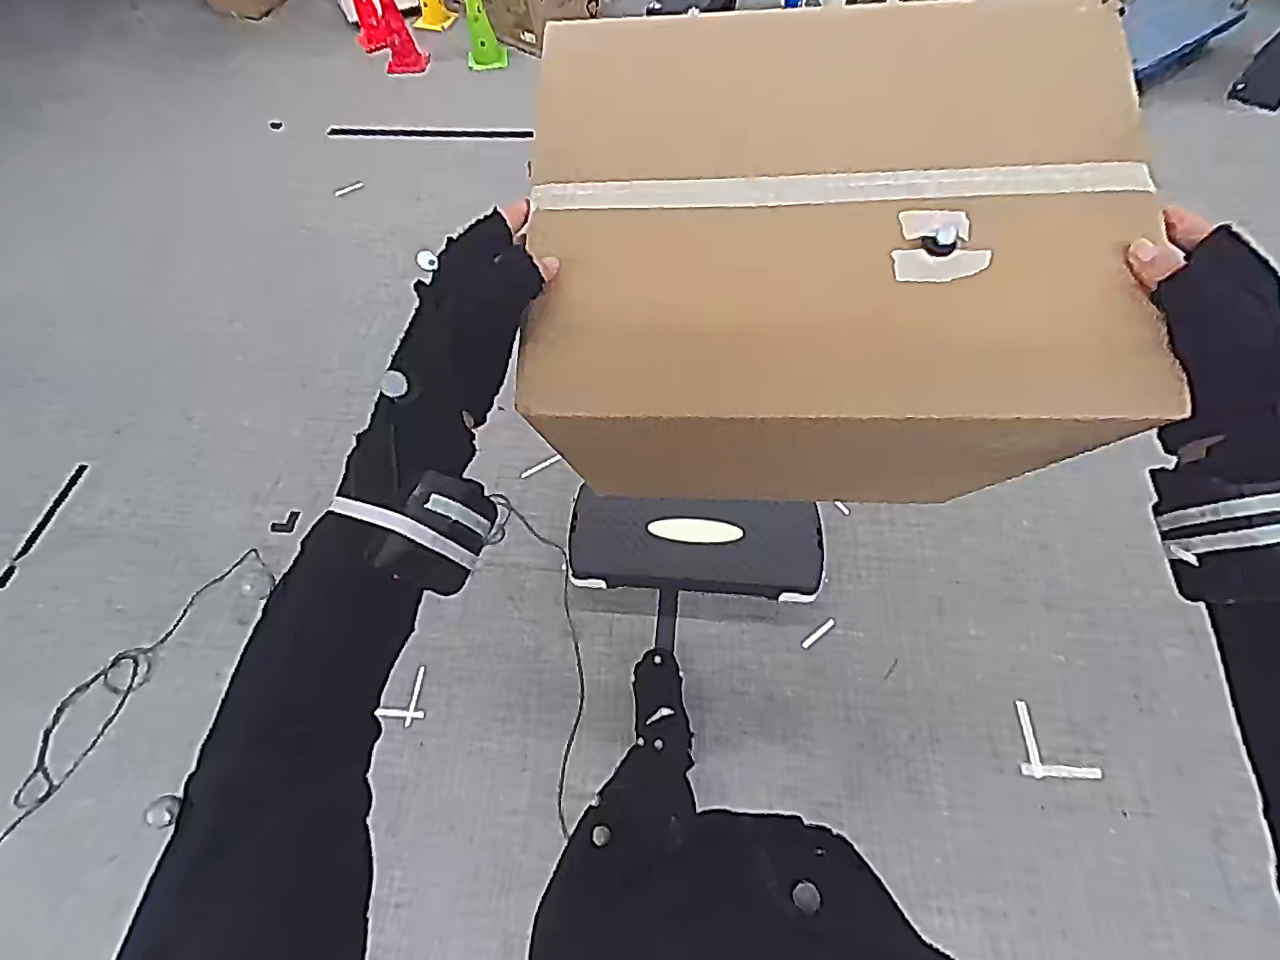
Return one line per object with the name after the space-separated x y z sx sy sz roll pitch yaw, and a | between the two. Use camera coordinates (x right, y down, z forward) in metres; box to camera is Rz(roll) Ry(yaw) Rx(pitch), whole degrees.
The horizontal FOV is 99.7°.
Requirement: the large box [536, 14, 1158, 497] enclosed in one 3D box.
0.136 -0.162 0.525 0.408 0.320 0.320 1 79 4 | large box
